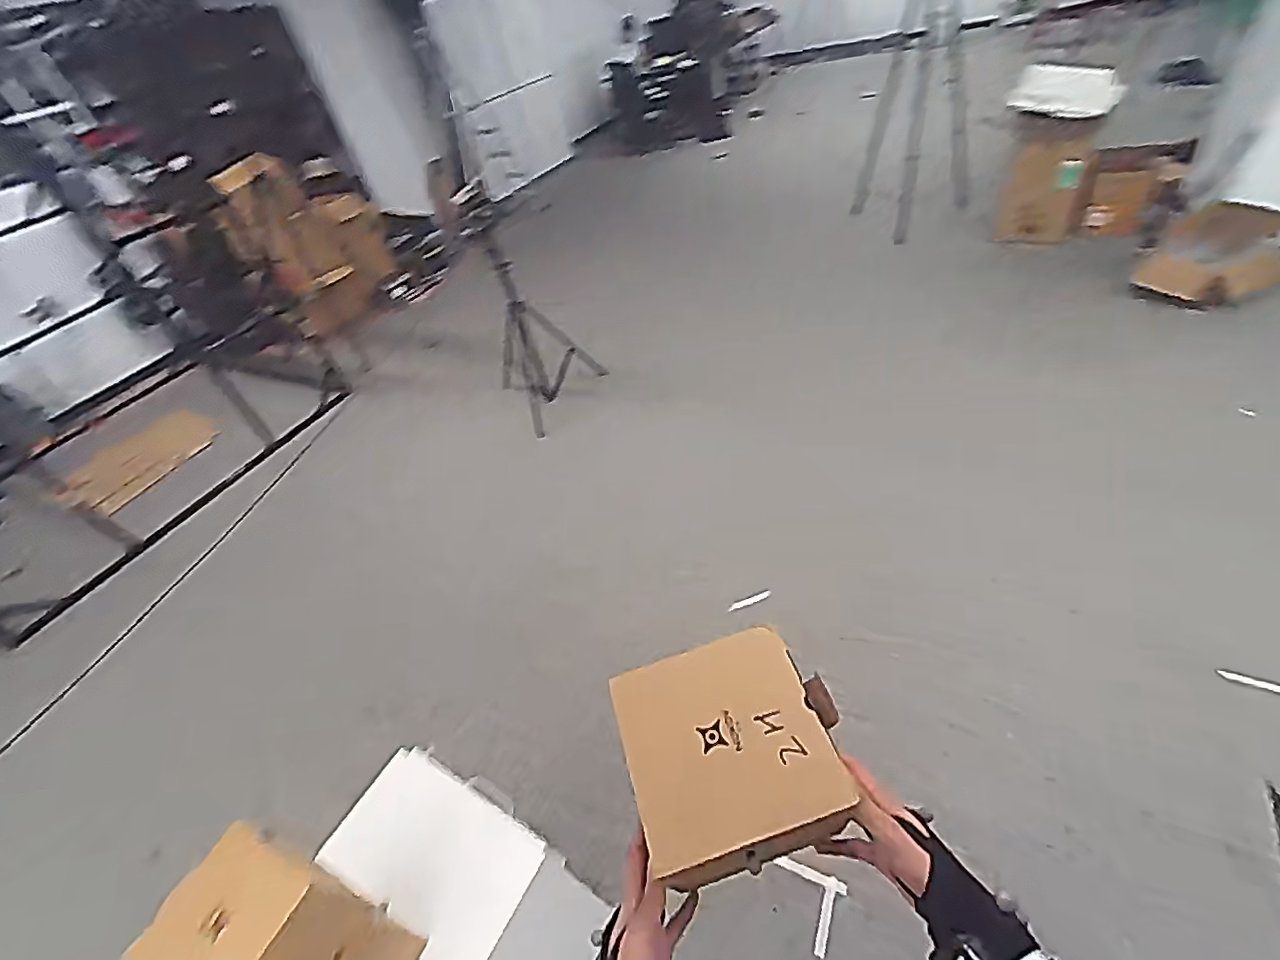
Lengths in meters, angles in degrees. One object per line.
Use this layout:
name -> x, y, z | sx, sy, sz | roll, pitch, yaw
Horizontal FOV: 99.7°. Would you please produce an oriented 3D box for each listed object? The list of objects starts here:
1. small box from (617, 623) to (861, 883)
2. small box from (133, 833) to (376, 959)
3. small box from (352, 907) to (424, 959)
small box -> 0.093, 0.276, 0.540 | 0.179, 0.176, 0.168 | -18, 48, -3
small box -> -0.492, 0.605, 0.707 | 0.179, 0.176, 0.168 | 9, 47, 26
small box -> -0.457, 0.740, 0.794 | 0.168, 0.176, 0.179 | 8, 46, 23
